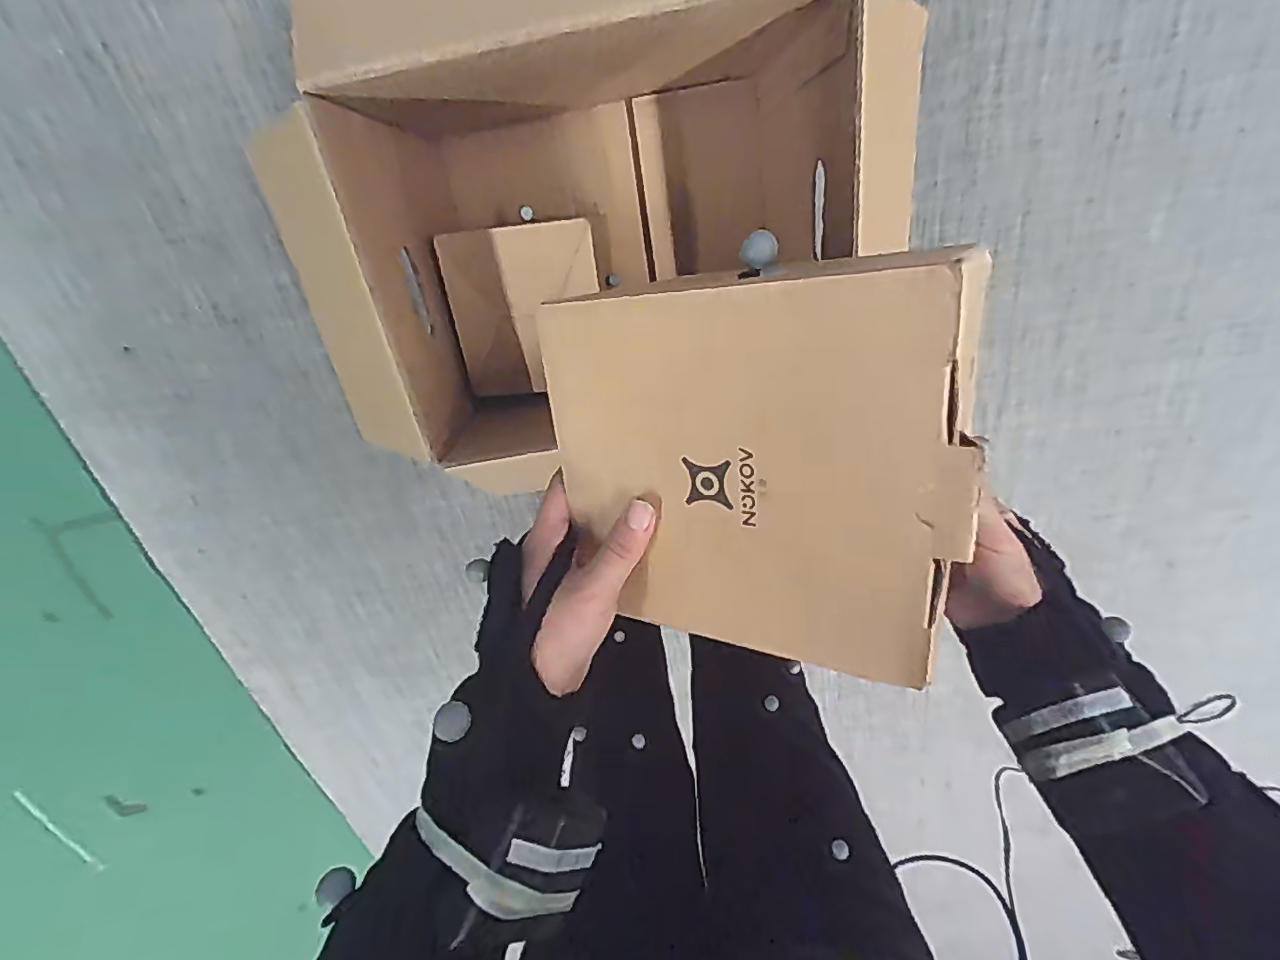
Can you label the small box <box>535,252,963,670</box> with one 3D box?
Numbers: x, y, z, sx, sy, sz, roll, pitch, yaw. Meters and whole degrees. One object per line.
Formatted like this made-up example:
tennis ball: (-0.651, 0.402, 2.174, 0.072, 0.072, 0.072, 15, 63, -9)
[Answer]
small box: (0.071, -0.030, 0.306, 0.179, 0.176, 0.168, 5, 114, 31)
